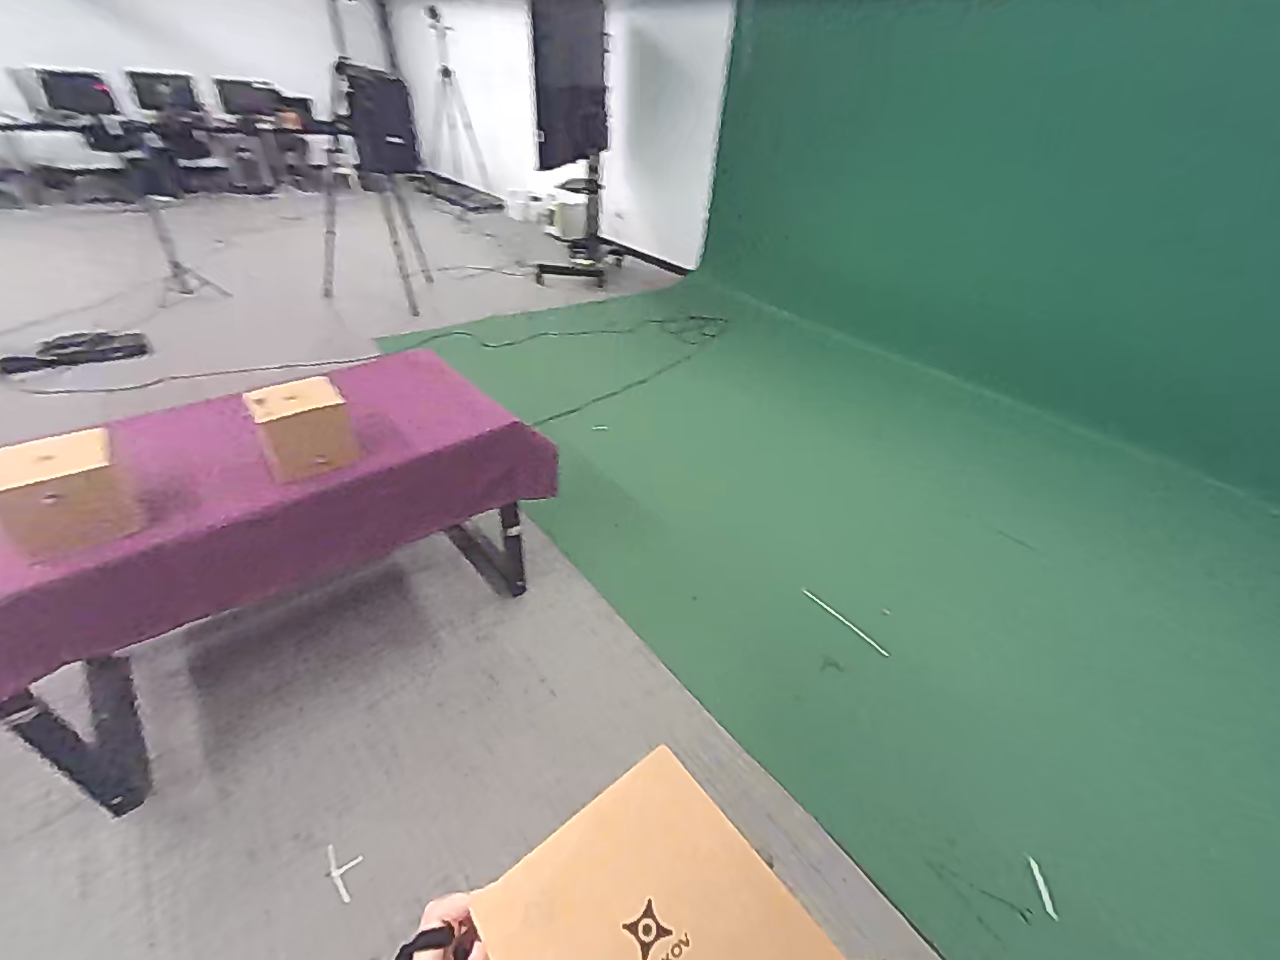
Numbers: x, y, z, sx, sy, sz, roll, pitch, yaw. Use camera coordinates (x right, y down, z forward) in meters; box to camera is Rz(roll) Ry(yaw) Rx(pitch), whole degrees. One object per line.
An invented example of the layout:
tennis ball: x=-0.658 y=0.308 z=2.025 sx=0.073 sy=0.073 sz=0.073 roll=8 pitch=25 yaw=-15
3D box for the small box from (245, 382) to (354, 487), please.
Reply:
small box: x=-0.808 y=-0.111 z=1.299 sx=0.179 sy=0.176 sz=0.168 roll=-23 pitch=44 yaw=-34

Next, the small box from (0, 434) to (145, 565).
small box: x=-1.121 y=0.037 z=1.058 sx=0.179 sy=0.176 sz=0.168 roll=-22 pitch=44 yaw=-33
